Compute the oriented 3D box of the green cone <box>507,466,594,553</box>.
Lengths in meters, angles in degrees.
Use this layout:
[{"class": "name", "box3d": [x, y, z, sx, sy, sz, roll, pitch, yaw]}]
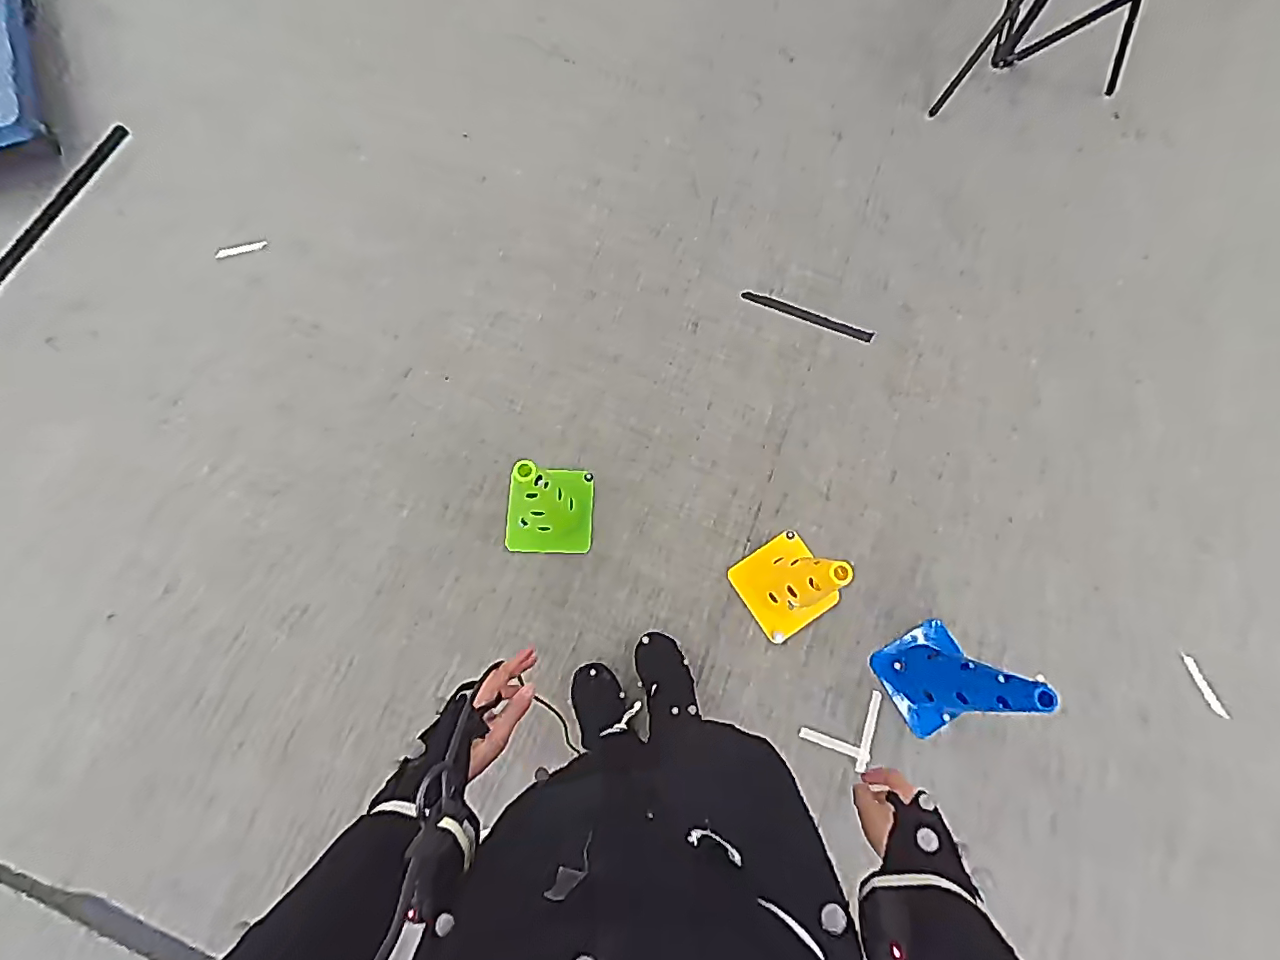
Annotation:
[{"class": "green cone", "box3d": [-0.208, 0.032, 1.119, 0.200, 0.368, 0.202, 1, 76, -1]}]
